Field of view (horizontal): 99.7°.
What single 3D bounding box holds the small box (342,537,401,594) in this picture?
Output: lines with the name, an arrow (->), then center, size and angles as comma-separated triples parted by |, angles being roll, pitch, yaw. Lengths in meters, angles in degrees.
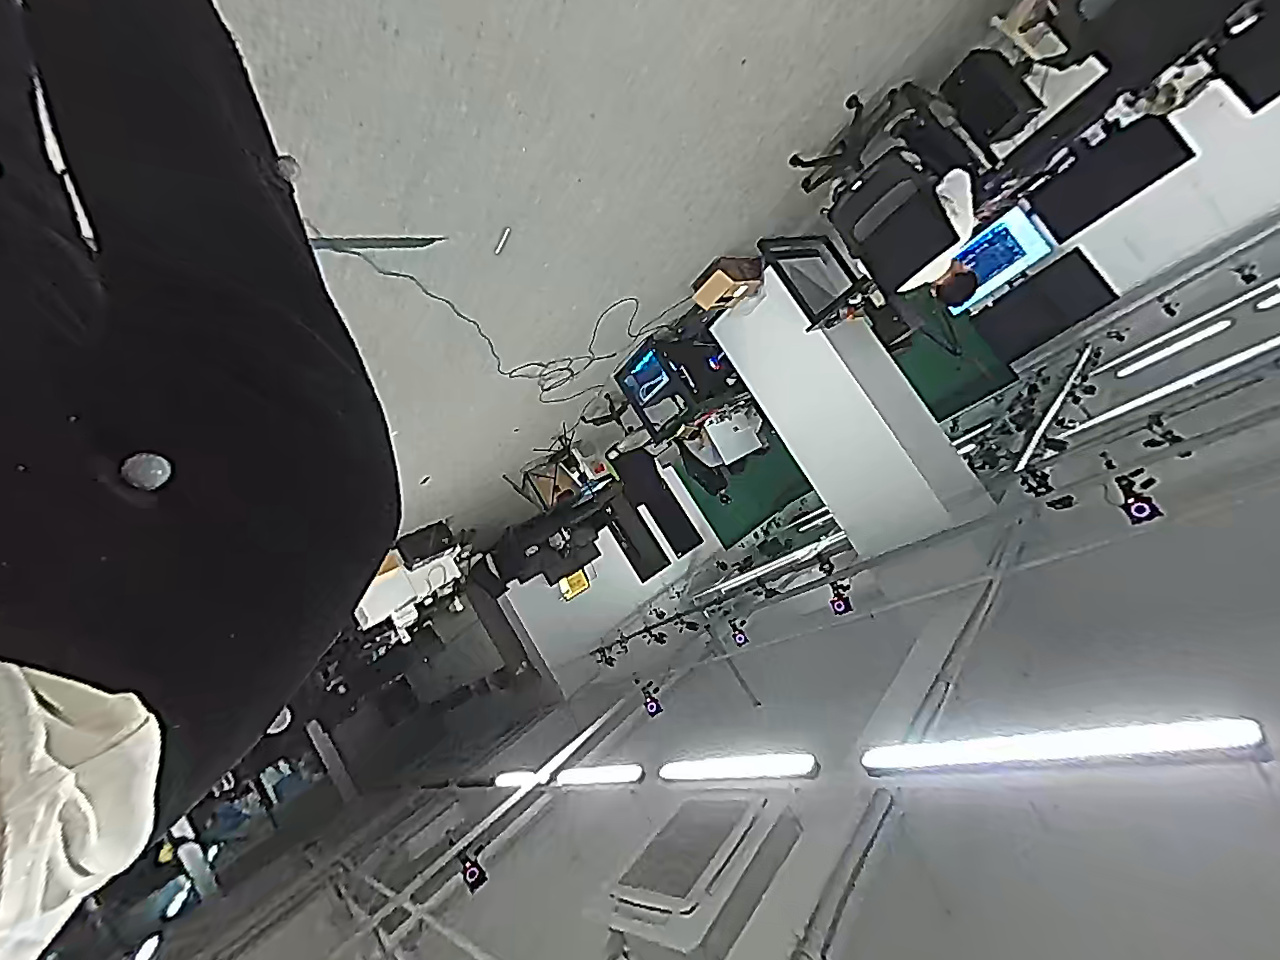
small box -> -1.212, 0.382, 2.427 | 0.179, 0.176, 0.168 | -23, 170, -43
